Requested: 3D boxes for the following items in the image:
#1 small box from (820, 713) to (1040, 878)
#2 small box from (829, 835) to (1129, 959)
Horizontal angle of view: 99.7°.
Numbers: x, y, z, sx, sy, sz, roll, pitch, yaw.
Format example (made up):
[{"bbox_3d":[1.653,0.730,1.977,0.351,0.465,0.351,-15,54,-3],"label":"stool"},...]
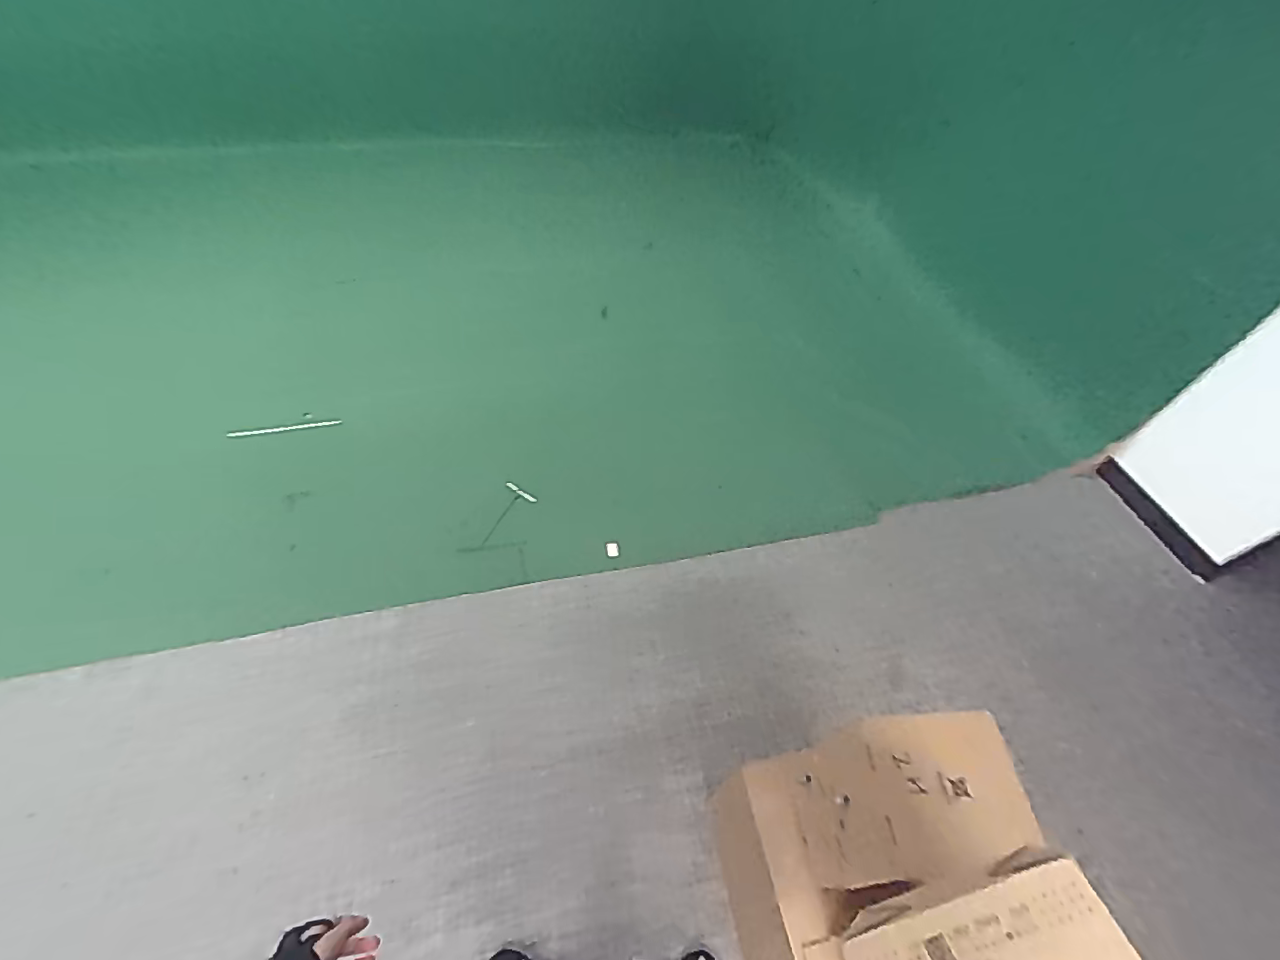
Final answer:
[{"bbox_3d":[0.360,0.410,0.702,0.179,0.176,0.168,-1,53,-4],"label":"small box"},{"bbox_3d":[0.256,0.372,0.380,0.168,0.179,0.176,-30,52,8],"label":"small box"}]
